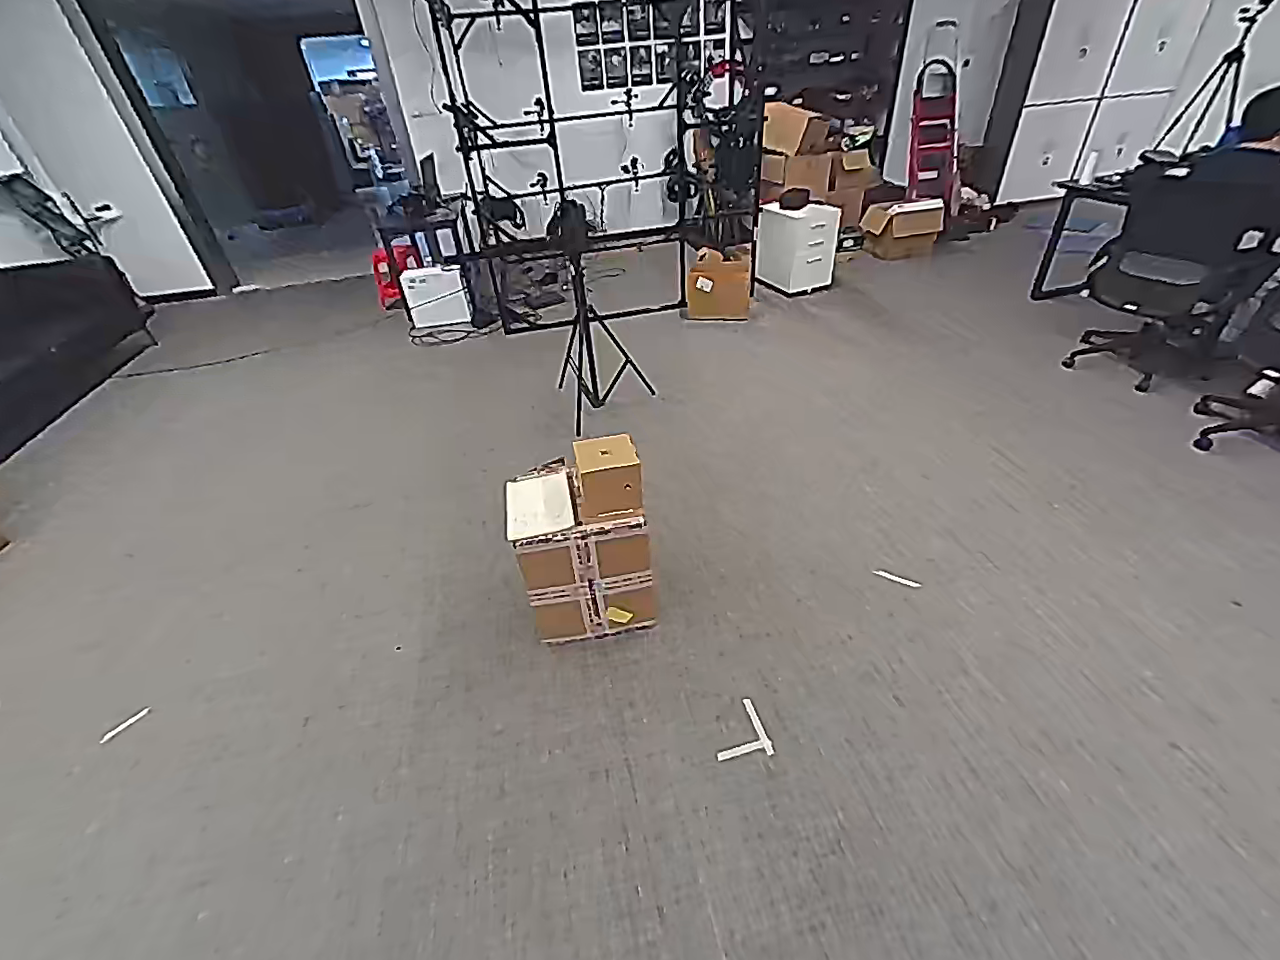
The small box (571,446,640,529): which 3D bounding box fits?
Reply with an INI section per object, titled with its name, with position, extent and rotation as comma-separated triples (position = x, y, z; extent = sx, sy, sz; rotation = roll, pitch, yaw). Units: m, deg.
[small box]
position = -0.101, 0.023, 1.610
extent = 0.179, 0.176, 0.168
rotation = -11, 38, -9
